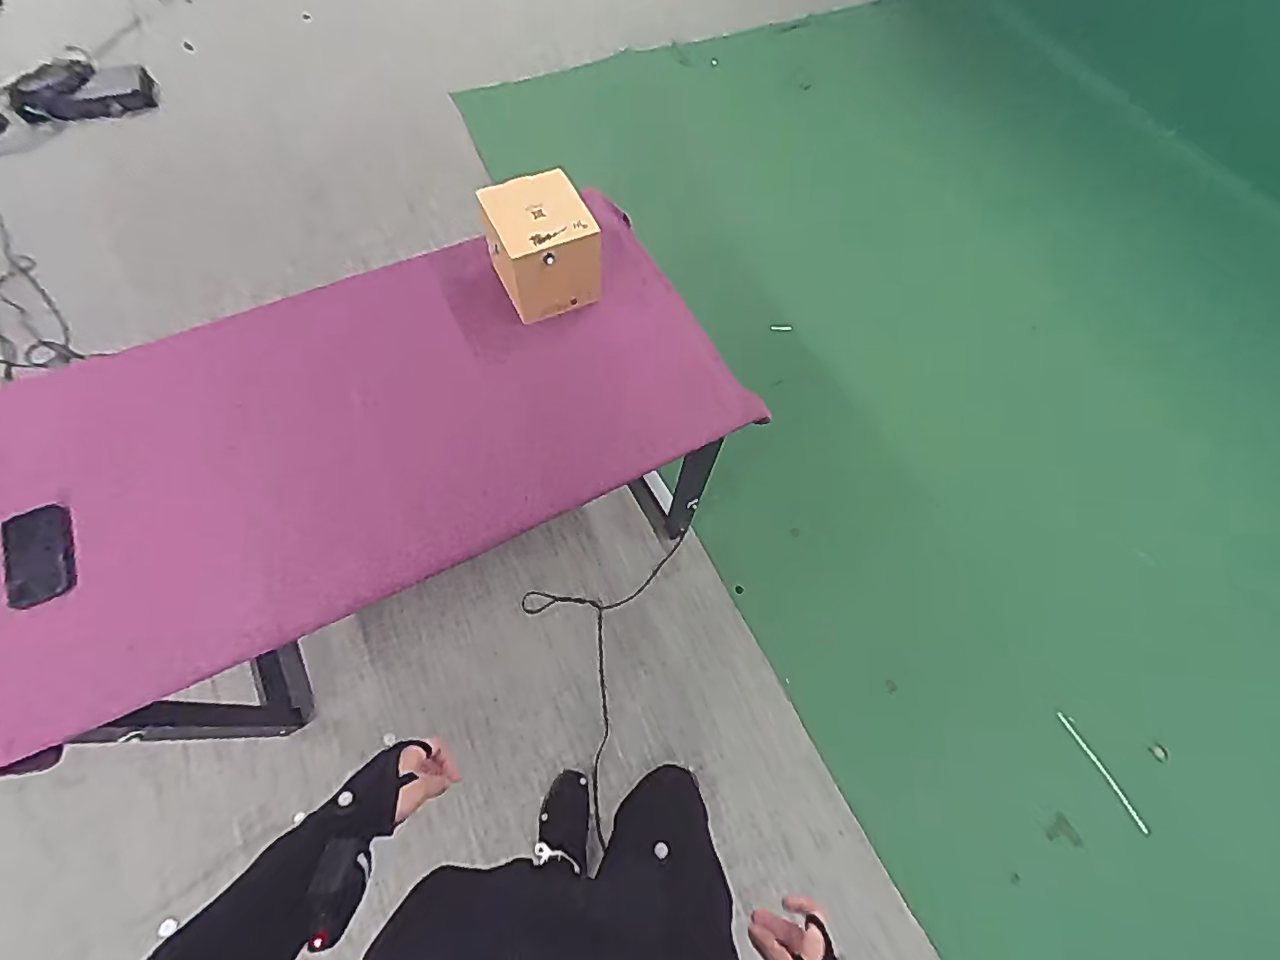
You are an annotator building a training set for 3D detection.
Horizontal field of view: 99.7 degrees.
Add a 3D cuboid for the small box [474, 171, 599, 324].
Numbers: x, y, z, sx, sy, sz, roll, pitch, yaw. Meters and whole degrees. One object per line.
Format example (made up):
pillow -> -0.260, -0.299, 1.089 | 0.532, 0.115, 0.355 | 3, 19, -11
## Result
small box -> -0.186, -0.427, 1.007 | 0.168, 0.176, 0.179 | -25, 69, -12
